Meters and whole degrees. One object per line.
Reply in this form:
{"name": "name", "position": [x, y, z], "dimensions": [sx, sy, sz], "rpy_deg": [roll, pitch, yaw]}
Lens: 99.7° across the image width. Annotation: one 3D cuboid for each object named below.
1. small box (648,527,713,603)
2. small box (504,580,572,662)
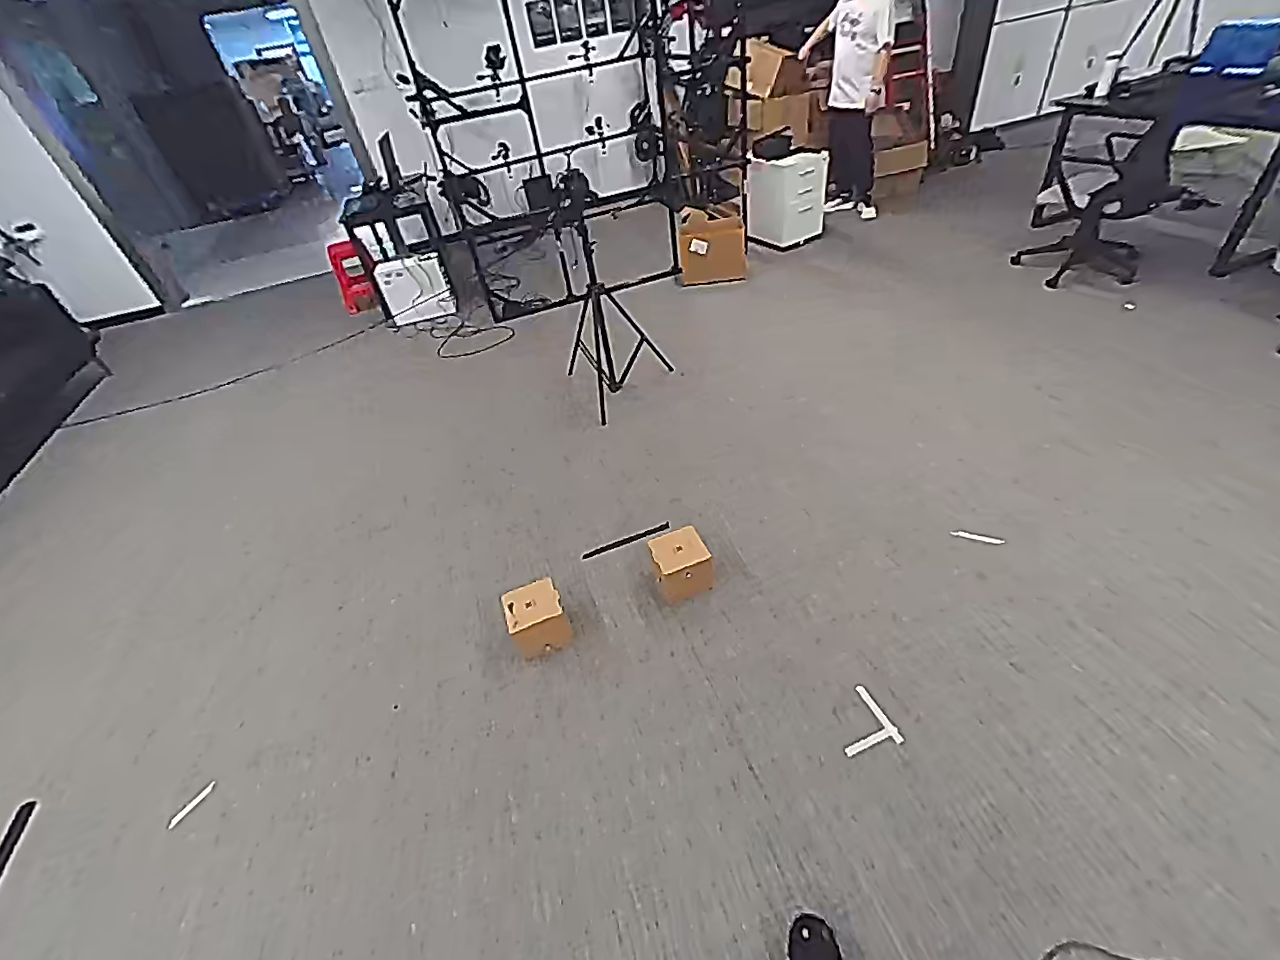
{"name": "small box", "position": [0.143, 0.301, 1.882], "dimensions": [0.179, 0.176, 0.168], "rpy_deg": [-19, 43, -11]}
{"name": "small box", "position": [-0.332, 0.469, 1.794], "dimensions": [0.179, 0.176, 0.168], "rpy_deg": [-20, 41, -10]}
